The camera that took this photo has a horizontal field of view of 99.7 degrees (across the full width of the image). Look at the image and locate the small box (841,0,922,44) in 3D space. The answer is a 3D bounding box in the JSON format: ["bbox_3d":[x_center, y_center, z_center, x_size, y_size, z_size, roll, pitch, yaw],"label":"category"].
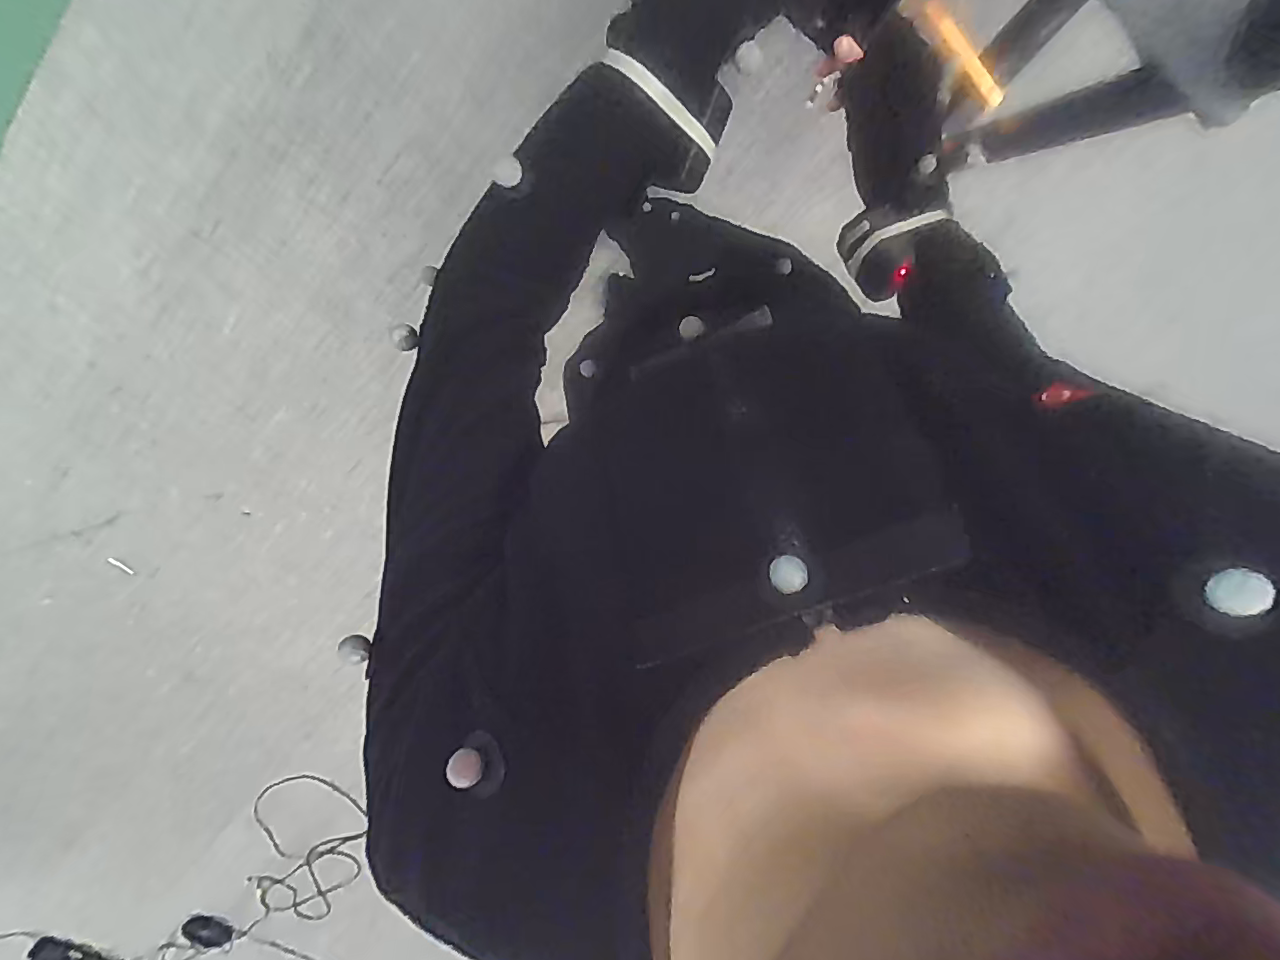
[{"bbox_3d":[0.464,-0.940,0.964,0.179,0.176,0.168,-43,109,13],"label":"small box"}]
